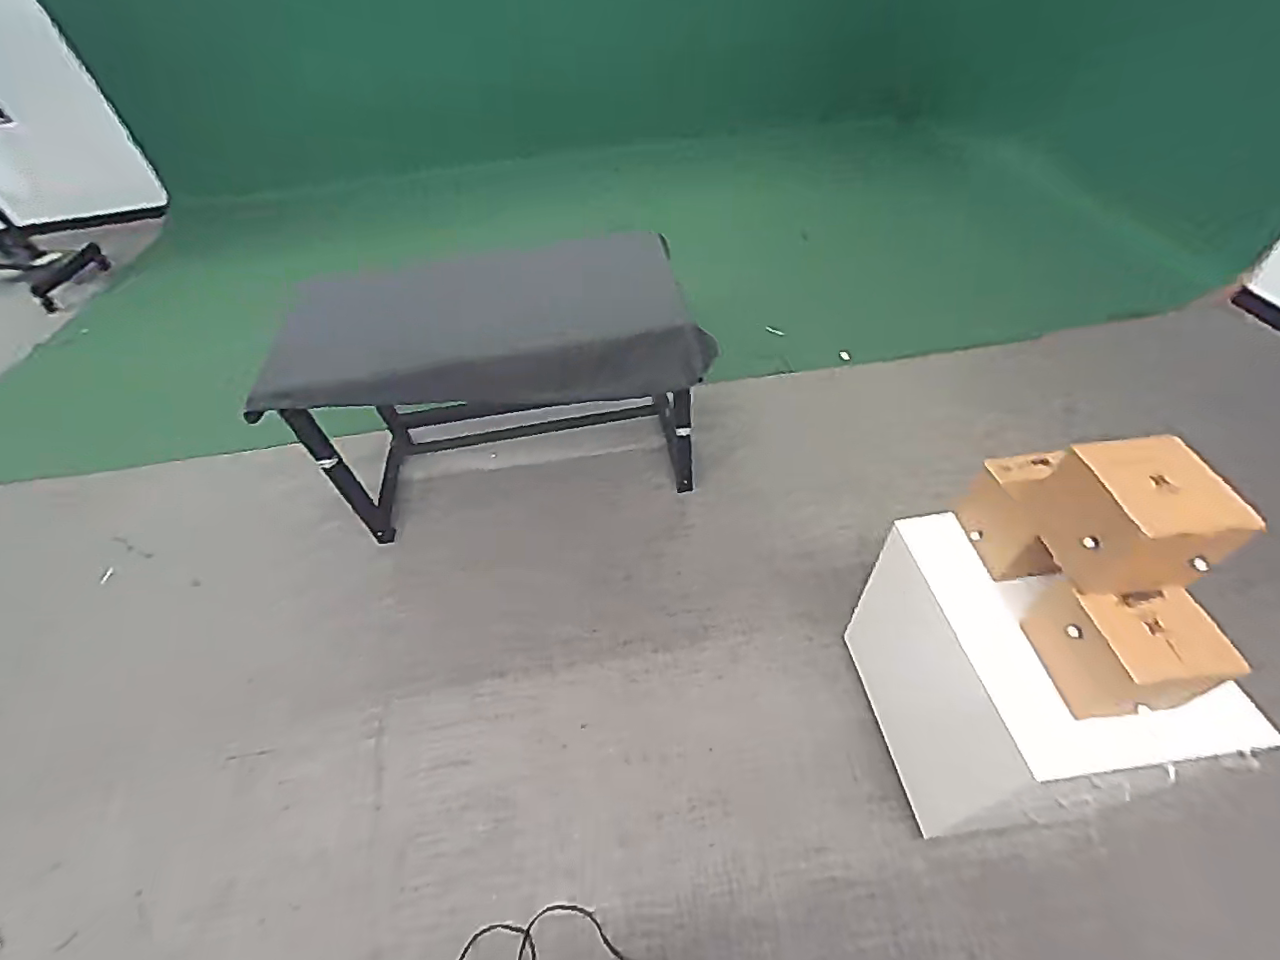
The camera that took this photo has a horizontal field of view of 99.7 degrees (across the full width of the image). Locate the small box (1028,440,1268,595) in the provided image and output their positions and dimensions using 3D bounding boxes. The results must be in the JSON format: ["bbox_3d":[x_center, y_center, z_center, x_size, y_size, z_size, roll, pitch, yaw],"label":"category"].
[{"bbox_3d":[0.756,0.064,0.833,0.168,0.176,0.179,-6,47,0],"label":"small box"}]

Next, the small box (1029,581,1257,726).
[{"bbox_3d":[0.774,0.271,0.864,0.168,0.176,0.179,-7,49,1],"label":"small box"}]

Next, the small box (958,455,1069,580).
[{"bbox_3d":[0.756,0.079,1.037,0.168,0.176,0.179,-8,50,-1],"label":"small box"}]
